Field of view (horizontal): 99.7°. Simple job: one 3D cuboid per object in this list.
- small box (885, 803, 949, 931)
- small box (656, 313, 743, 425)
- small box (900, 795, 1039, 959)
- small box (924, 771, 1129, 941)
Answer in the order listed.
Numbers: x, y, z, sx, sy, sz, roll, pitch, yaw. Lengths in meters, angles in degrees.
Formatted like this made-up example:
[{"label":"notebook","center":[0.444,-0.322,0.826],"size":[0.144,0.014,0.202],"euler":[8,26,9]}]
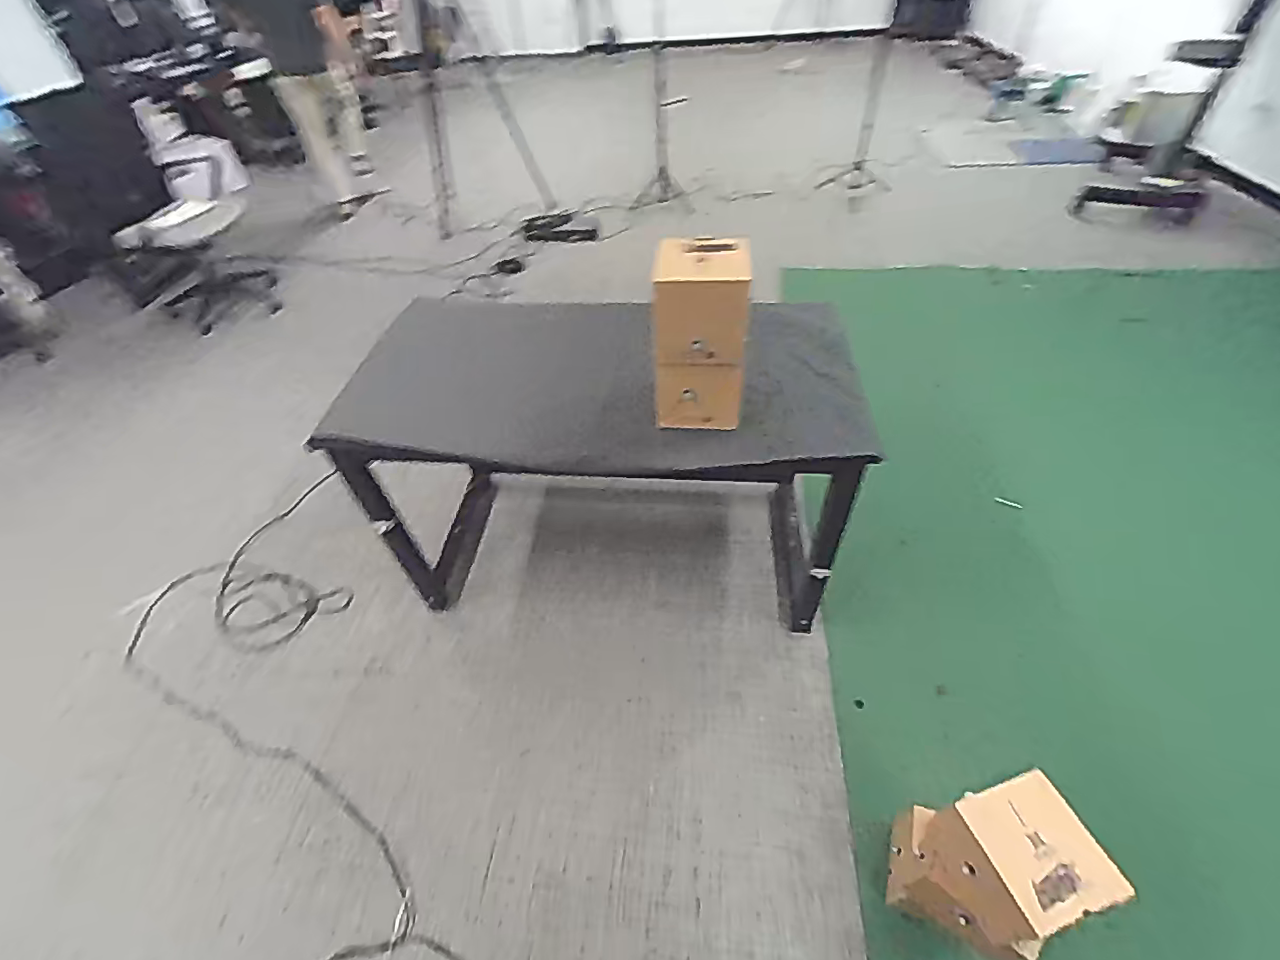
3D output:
[{"label":"small box","center":[0.623,0.809,1.118],"size":[0.179,0.176,0.168],"euler":[15,50,17]},{"label":"small box","center":[0.126,-0.229,1.127],"size":[0.168,0.176,0.179],"euler":[2,46,7]},{"label":"small box","center":[0.605,0.721,0.979],"size":[0.179,0.176,0.168],"euler":[34,59,29]},{"label":"small box","center":[0.597,0.603,0.864],"size":[0.168,0.176,0.179],"euler":[-15,47,-8]}]
